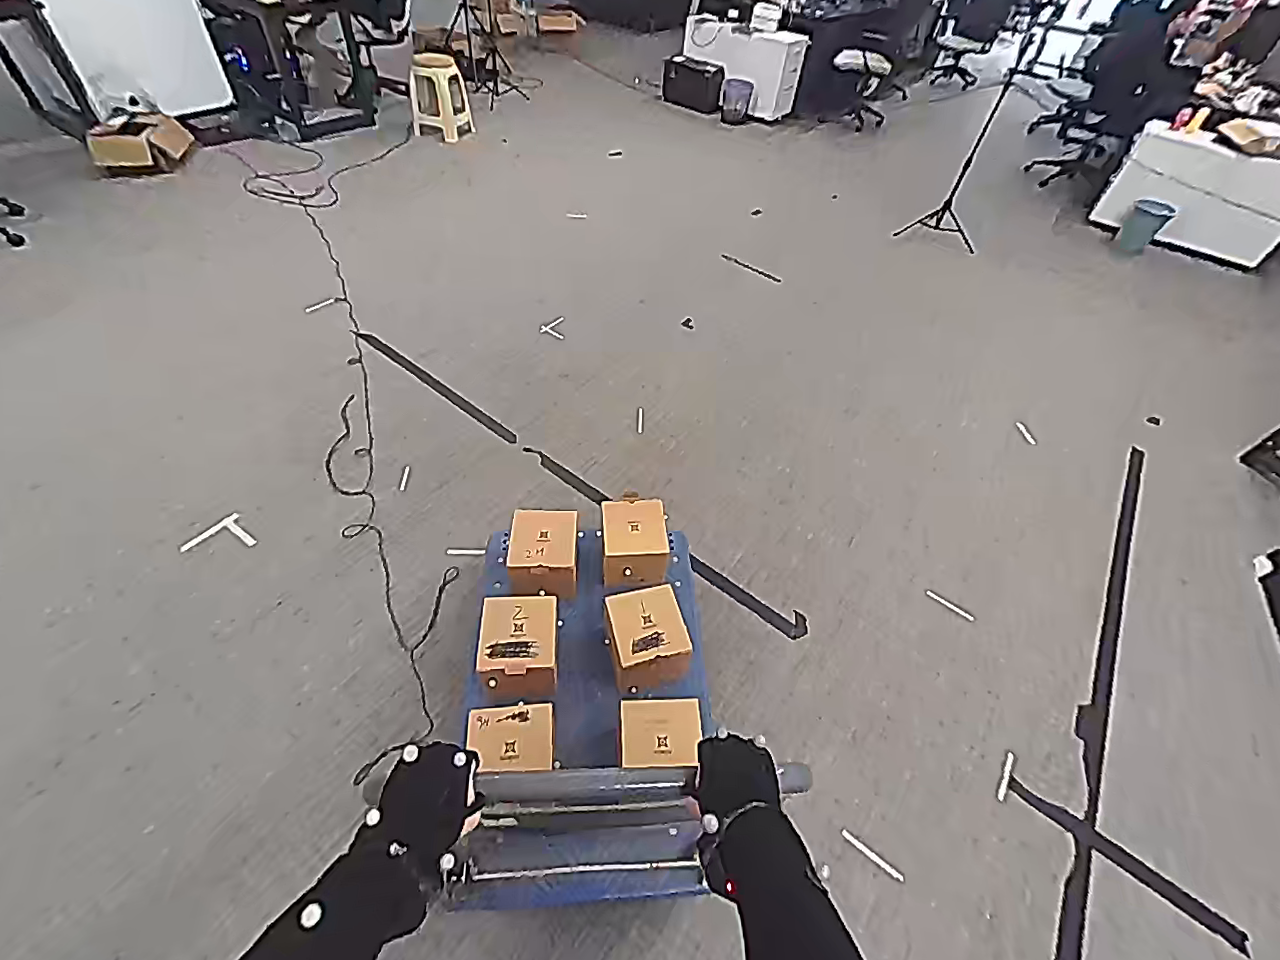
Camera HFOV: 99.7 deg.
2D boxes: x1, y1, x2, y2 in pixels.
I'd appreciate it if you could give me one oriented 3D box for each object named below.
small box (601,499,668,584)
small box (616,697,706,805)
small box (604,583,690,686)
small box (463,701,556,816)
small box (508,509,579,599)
[{"bbox_3d":[-0.021,0.173,1.481,0.168,0.176,0.179,-2,49,-7],"label":"small box"},{"bbox_3d":[0.038,0.574,1.139,0.168,0.176,0.179,2,48,-6],"label":"small box"},{"bbox_3d":[0.011,0.379,1.305,0.168,0.176,0.179,-8,50,-14],"label":"small box"},{"bbox_3d":[-0.257,0.573,1.105,0.168,0.176,0.179,-1,50,-9],"label":"small box"},{"bbox_3d":[-0.250,0.197,1.433,0.168,0.176,0.179,2,50,-4],"label":"small box"}]
